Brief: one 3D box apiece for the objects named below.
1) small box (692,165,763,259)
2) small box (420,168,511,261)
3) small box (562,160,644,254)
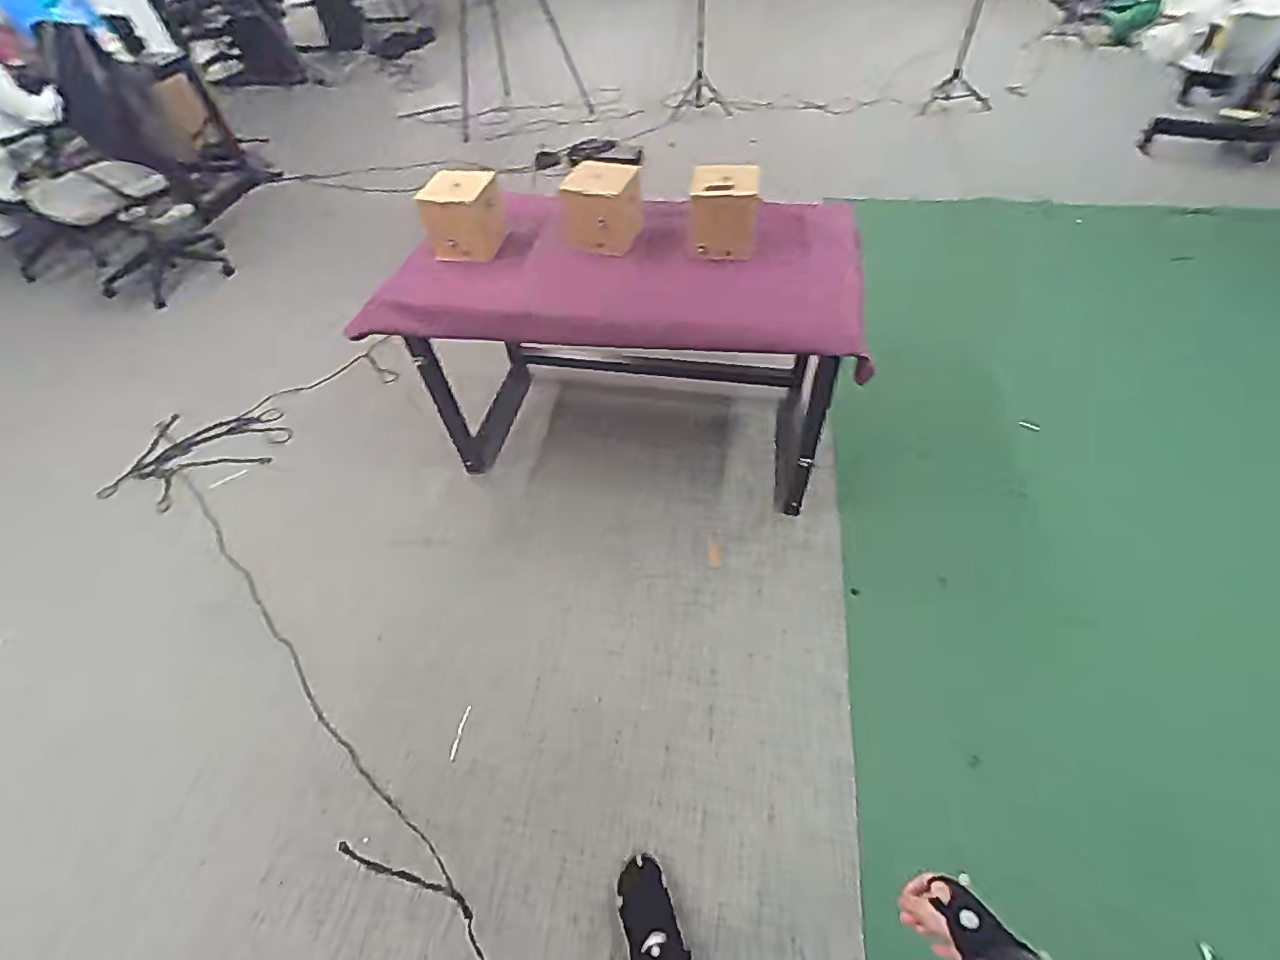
[{"bbox_3d":[0.228,-0.696,1.409,0.168,0.176,0.179,5,51,8],"label":"small box"},{"bbox_3d":[-0.469,-0.730,1.488,0.168,0.176,0.179,7,53,9],"label":"small box"},{"bbox_3d":[-0.090,-0.738,1.467,0.168,0.176,0.179,15,54,15],"label":"small box"}]
